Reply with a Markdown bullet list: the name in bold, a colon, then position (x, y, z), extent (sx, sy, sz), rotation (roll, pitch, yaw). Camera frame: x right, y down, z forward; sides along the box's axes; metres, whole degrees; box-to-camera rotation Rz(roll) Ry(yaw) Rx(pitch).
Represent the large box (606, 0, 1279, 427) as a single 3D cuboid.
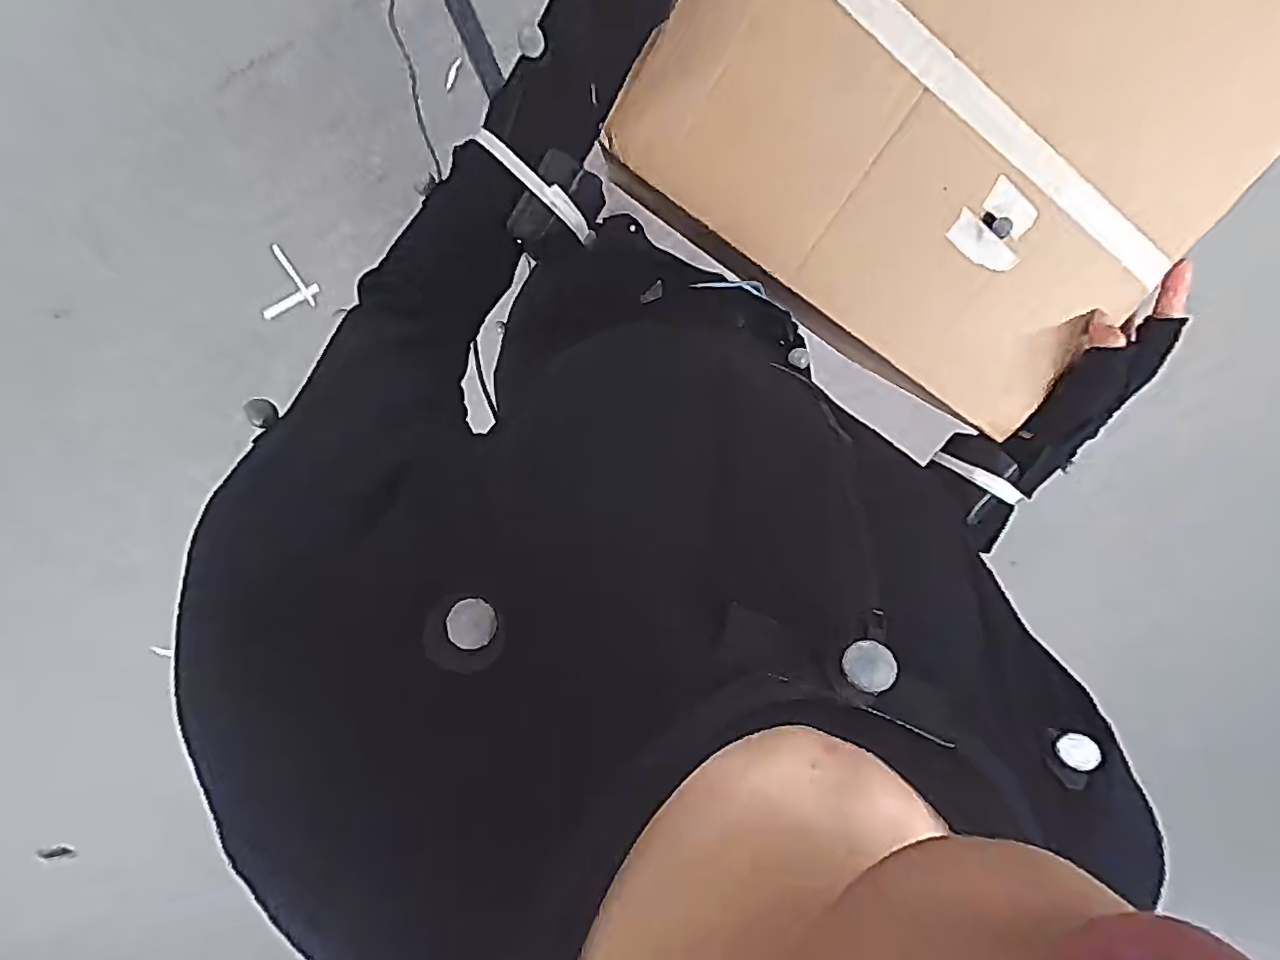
- **large box**: position (0.213, -0.315, 0.511), extent (0.408, 0.320, 0.320), rotation (29, 111, -15)
